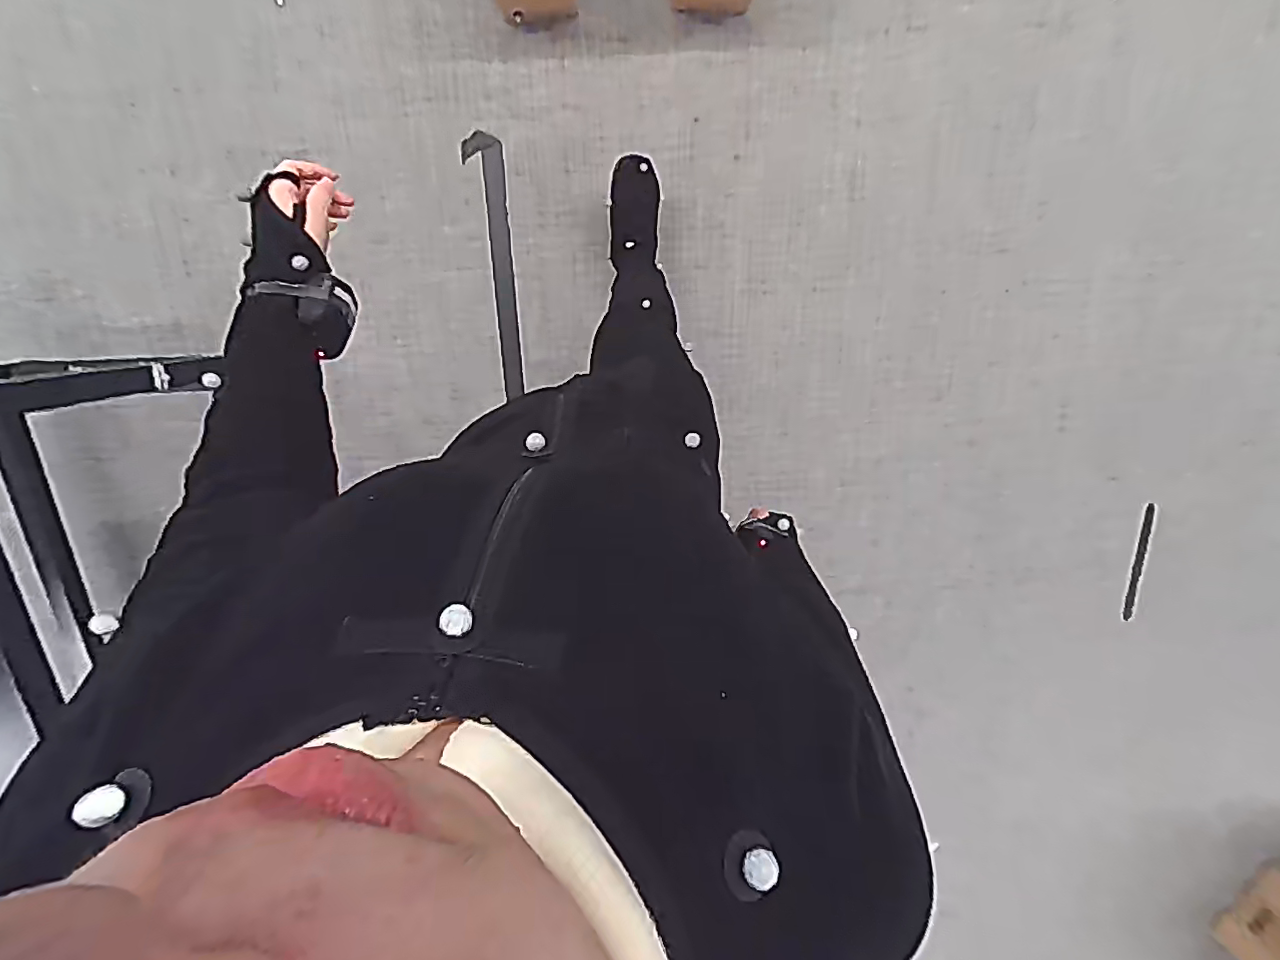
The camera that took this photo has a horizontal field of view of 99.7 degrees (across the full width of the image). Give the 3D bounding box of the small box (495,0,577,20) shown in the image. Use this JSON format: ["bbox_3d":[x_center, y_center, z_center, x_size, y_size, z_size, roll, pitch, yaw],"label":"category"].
[{"bbox_3d":[-0.222,-1.054,1.071,0.168,0.176,0.179,-8,106,-1],"label":"small box"}]

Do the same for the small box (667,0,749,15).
[{"bbox_3d":[0.153,-1.078,1.087,0.179,0.176,0.168,0,106,-3],"label":"small box"}]
